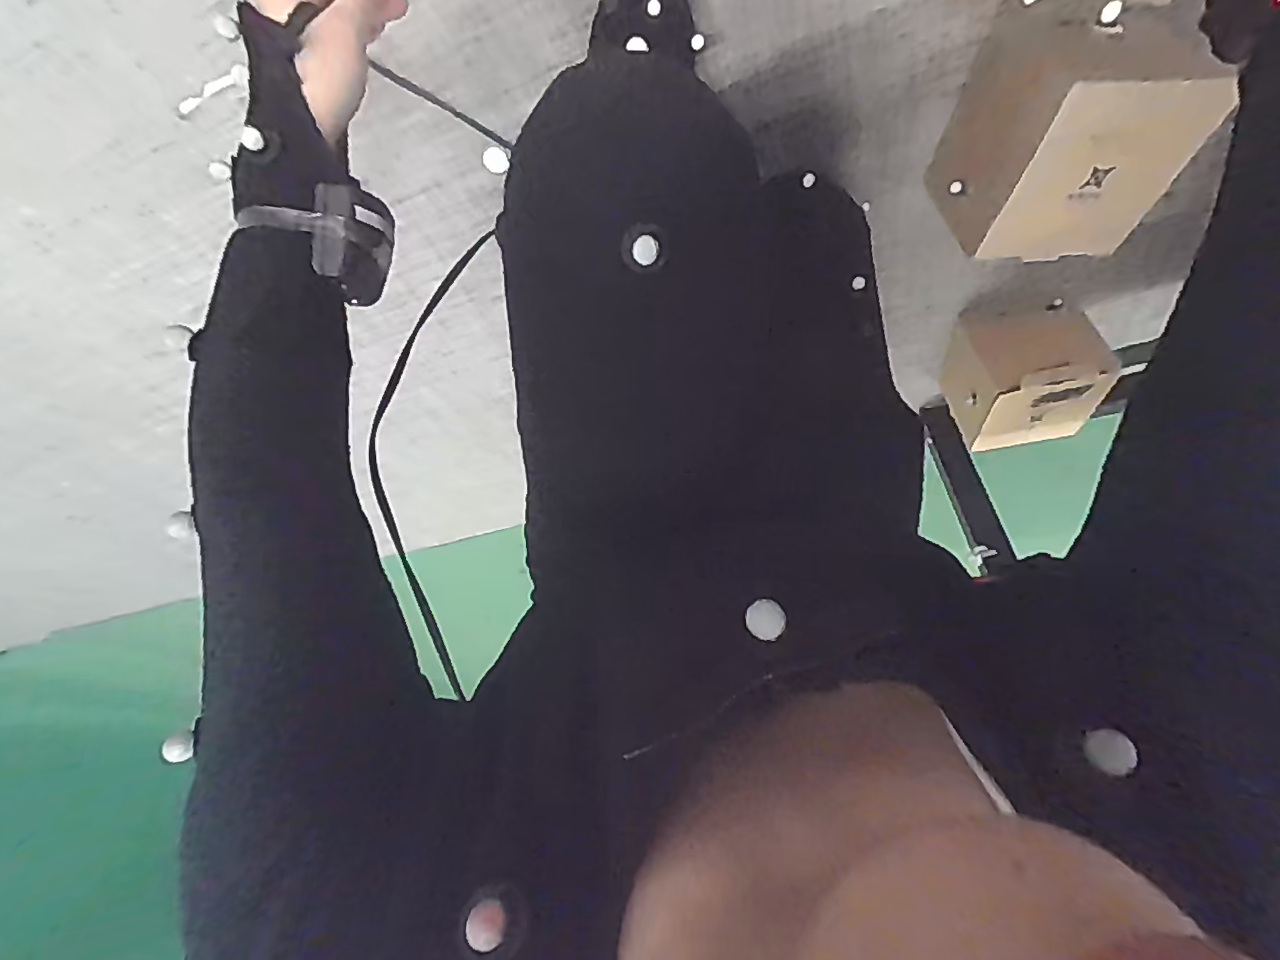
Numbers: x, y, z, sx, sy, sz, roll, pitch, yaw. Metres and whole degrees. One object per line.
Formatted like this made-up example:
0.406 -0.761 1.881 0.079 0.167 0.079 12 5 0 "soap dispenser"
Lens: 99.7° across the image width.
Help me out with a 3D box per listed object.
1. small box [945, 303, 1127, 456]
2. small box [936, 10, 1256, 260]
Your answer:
0.627 -0.167 0.887 0.168 0.176 0.179 -10 147 12 "small box"
0.449 -0.363 0.577 0.168 0.176 0.179 -3 145 -1 "small box"
